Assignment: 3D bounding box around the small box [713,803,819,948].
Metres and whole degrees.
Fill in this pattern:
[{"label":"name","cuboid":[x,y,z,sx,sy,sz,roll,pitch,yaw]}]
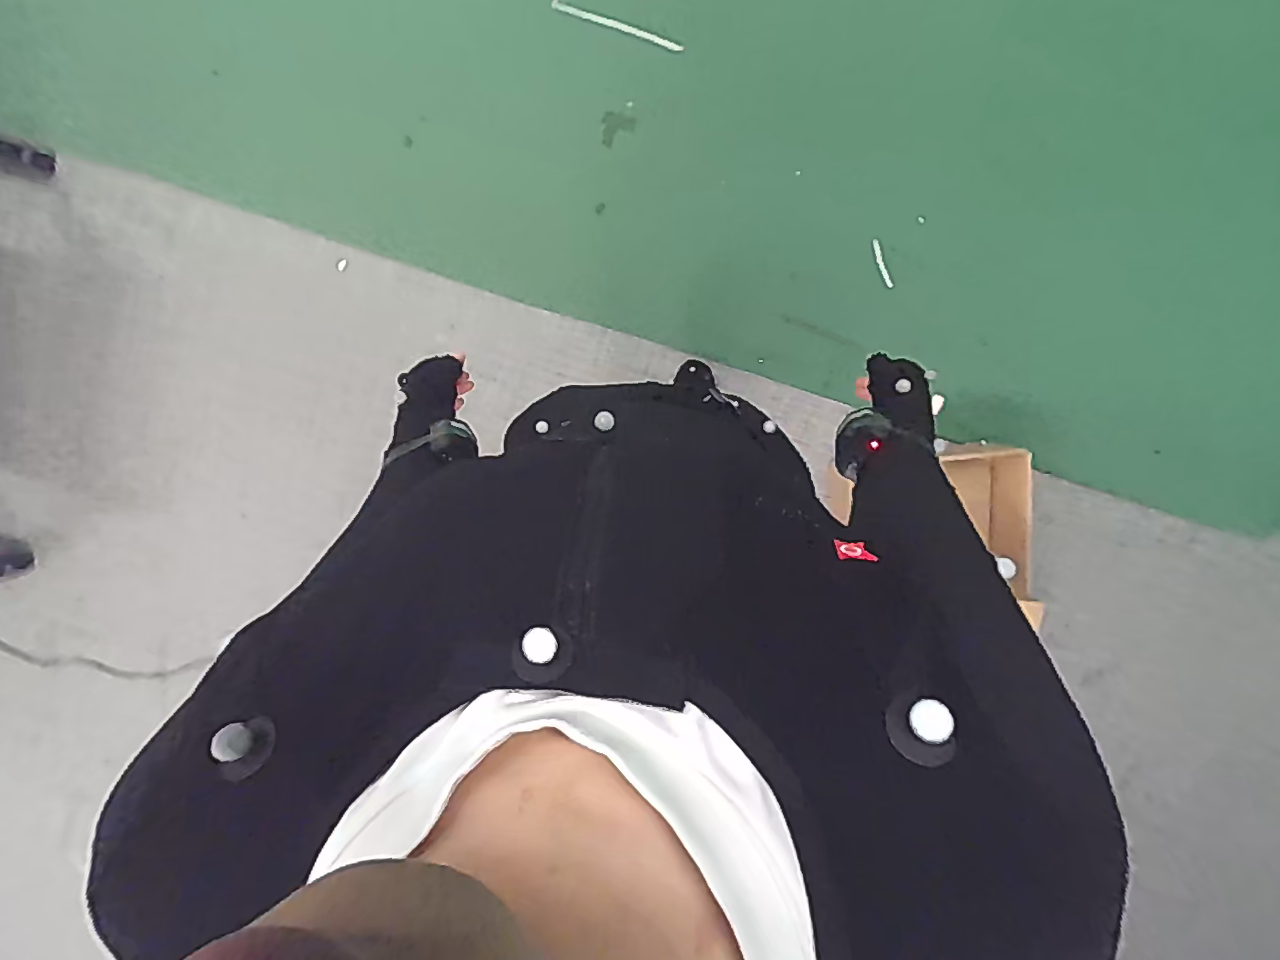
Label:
[{"label":"small box","cuboid":[0.271,0.878,1.218,0.168,0.176,0.179,25,102,0]}]
